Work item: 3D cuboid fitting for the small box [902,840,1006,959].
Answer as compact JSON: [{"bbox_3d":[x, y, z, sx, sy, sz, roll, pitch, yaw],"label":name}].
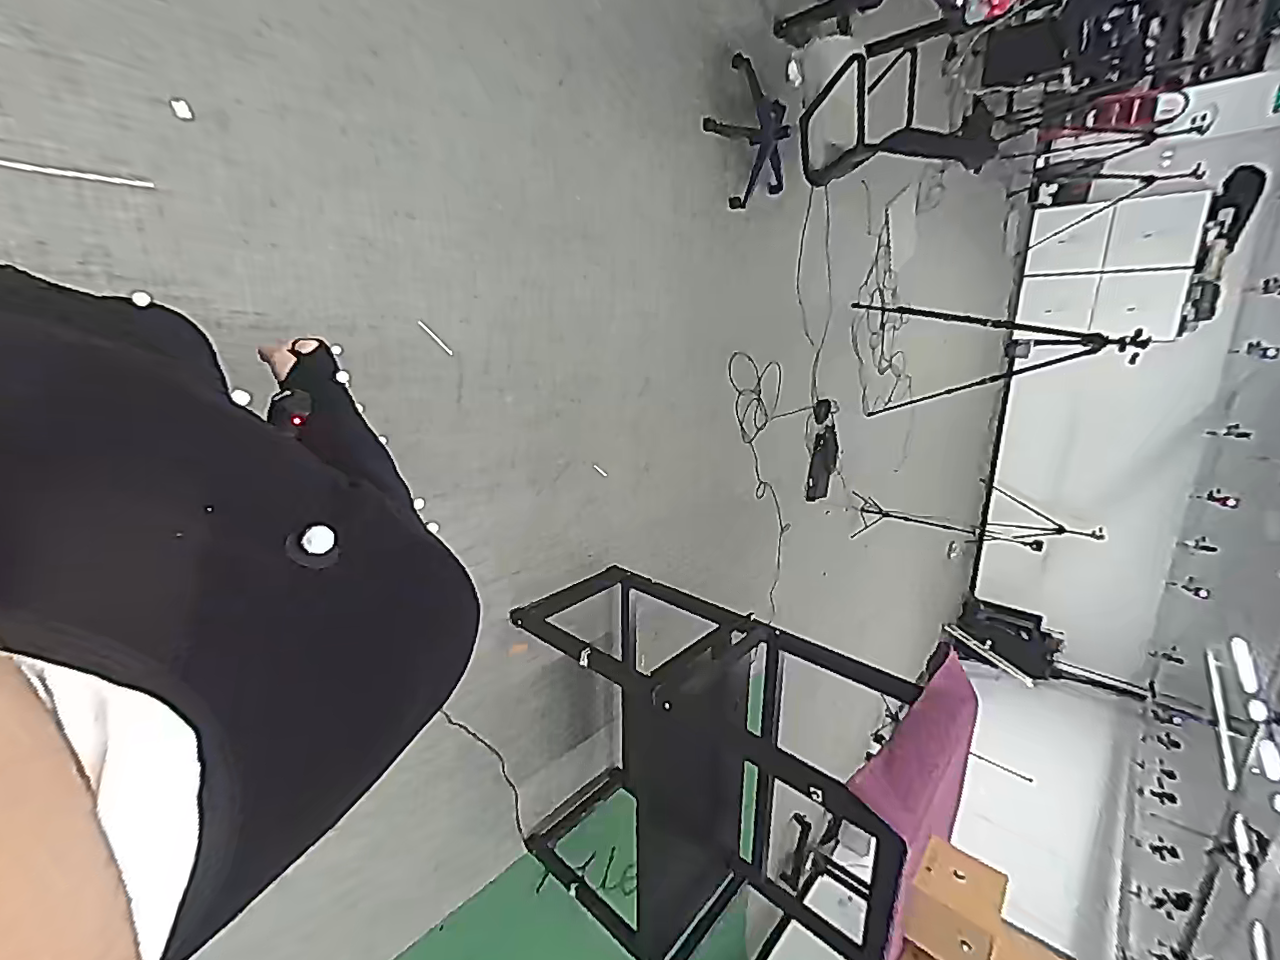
[{"bbox_3d":[0.736,0.998,1.275,0.168,0.176,0.179,-18,114,-44],"label":"small box"}]
